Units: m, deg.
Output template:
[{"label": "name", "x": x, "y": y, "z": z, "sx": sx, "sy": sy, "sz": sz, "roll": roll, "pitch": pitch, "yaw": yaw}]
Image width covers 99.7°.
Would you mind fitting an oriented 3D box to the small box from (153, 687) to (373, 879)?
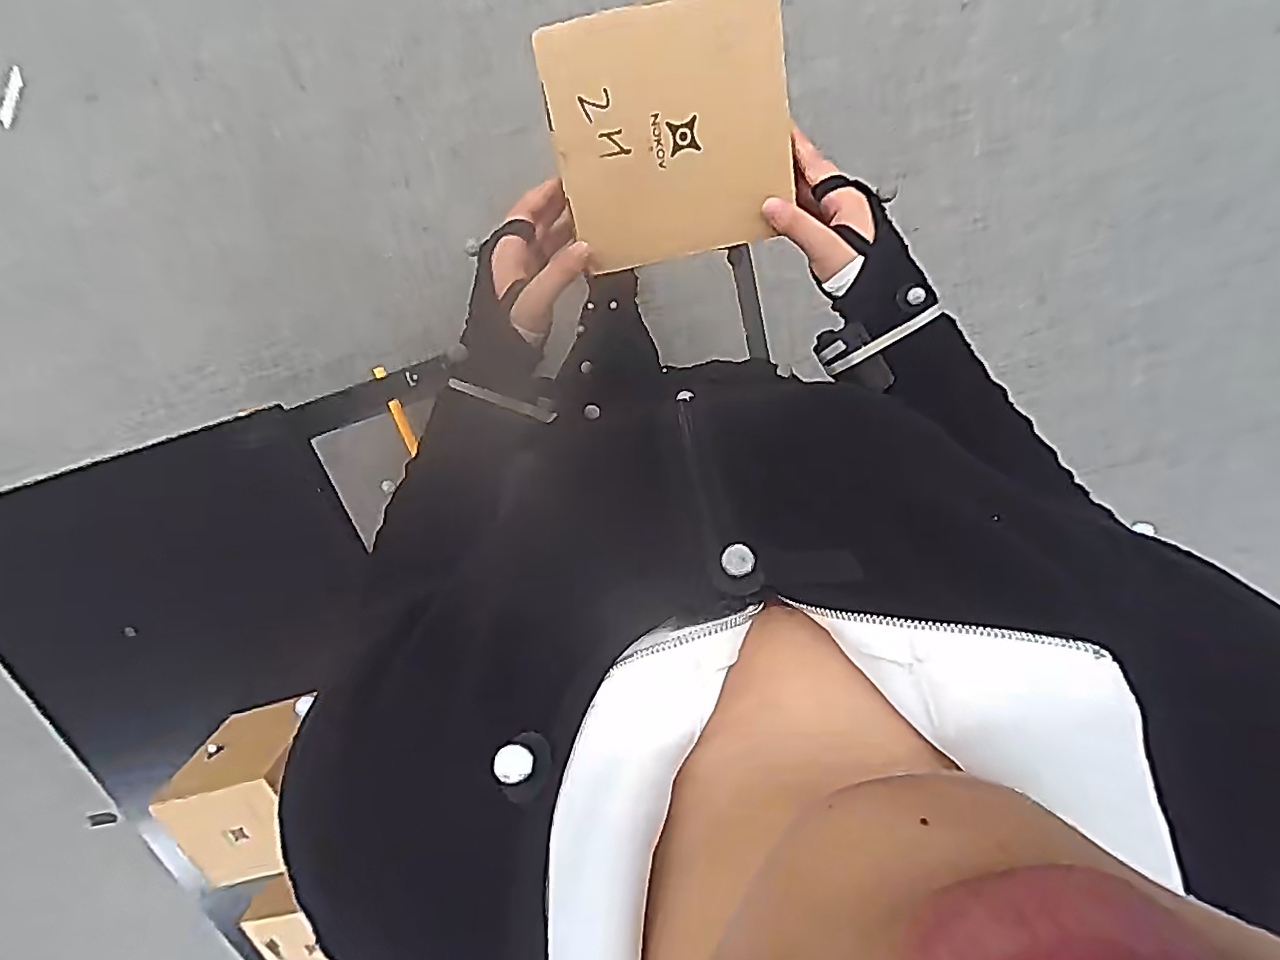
[{"label": "small box", "x": -0.547, "y": 0.445, "z": 0.813, "sx": 0.179, "sy": 0.176, "sz": 0.168, "roll": -17, "pitch": 110, "yaw": 4}]
